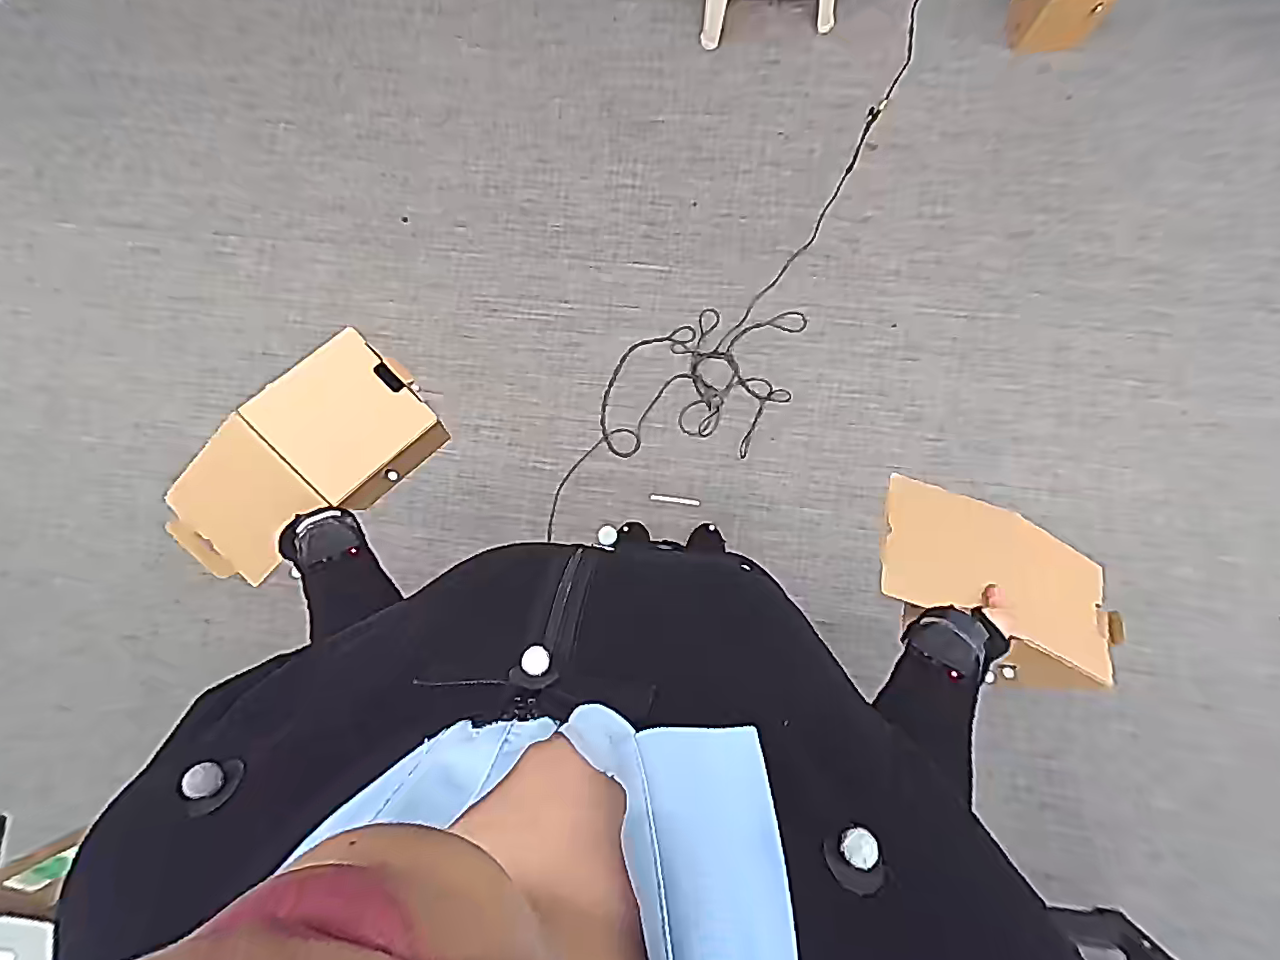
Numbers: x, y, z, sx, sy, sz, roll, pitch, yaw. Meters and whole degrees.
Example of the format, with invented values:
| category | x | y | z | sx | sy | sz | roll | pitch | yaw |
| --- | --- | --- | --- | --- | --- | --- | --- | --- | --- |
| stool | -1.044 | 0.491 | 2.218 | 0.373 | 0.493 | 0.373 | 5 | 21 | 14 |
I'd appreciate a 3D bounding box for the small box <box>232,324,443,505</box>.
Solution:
| category | x | y | z | sx | sy | sz | roll | pitch | yaw |
| --- | --- | --- | --- | --- | --- | --- | --- | --- | --- |
| small box | -0.400 | -0.078 | 0.756 | 0.179 | 0.176 | 0.168 | -43 | 97 | -13 |
